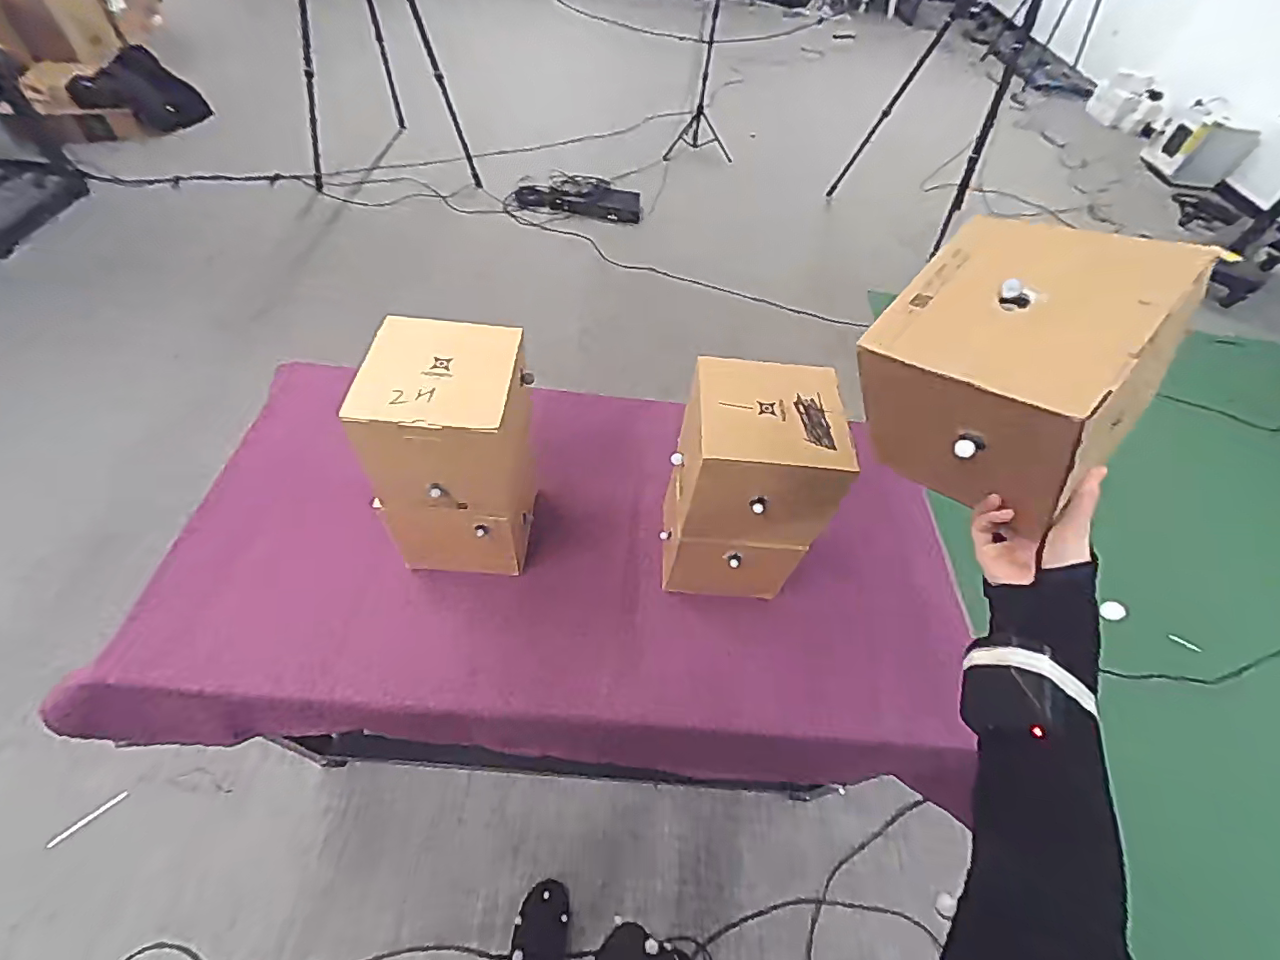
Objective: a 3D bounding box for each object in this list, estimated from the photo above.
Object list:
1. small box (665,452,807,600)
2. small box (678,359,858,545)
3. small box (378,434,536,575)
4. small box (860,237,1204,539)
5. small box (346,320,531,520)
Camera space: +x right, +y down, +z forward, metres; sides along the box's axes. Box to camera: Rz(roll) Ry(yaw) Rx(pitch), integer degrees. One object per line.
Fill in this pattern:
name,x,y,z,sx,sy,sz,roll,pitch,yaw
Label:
small box,0.133,0.070,0.822,0.179,0.176,0.168,6,53,-3
small box,0.148,-0.030,0.692,0.179,0.176,0.168,5,53,-2
small box,-0.257,0.029,0.808,0.179,0.176,0.168,5,52,-4
small box,0.312,-0.086,0.466,0.168,0.179,0.176,-47,48,-8
small box,-0.233,-0.073,0.680,0.168,0.176,0.179,5,52,-3
